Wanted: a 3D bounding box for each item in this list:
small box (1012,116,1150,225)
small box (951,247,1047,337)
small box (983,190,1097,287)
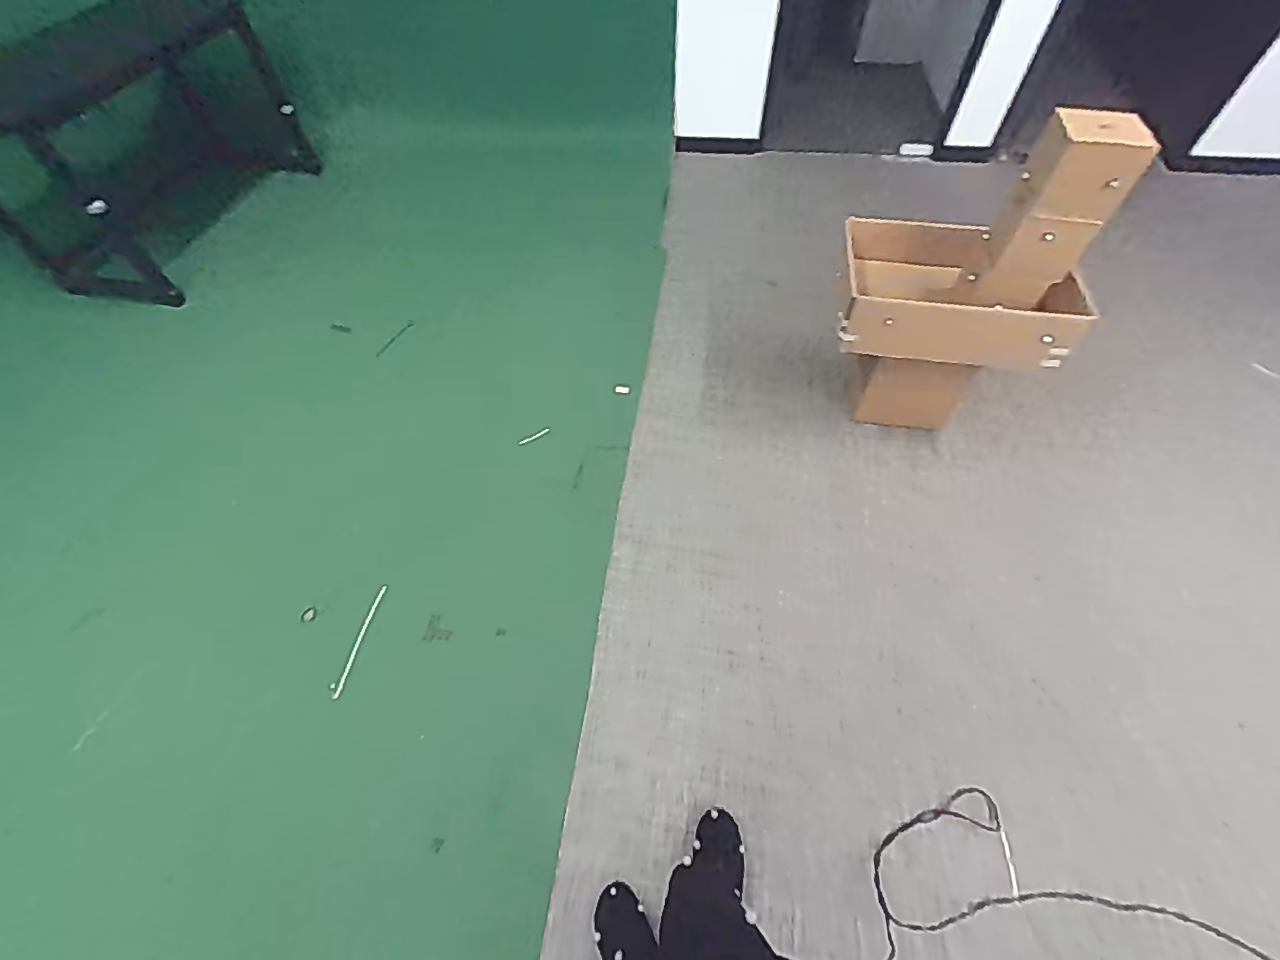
[{"bbox_3d":[1.025,-0.723,1.274,0.179,0.176,0.168,9,55,8],"label":"small box"},{"bbox_3d":[1.011,-0.533,1.540,0.168,0.176,0.179,11,56,9],"label":"small box"},{"bbox_3d":[1.021,-0.623,1.403,0.179,0.176,0.168,10,56,8],"label":"small box"}]
